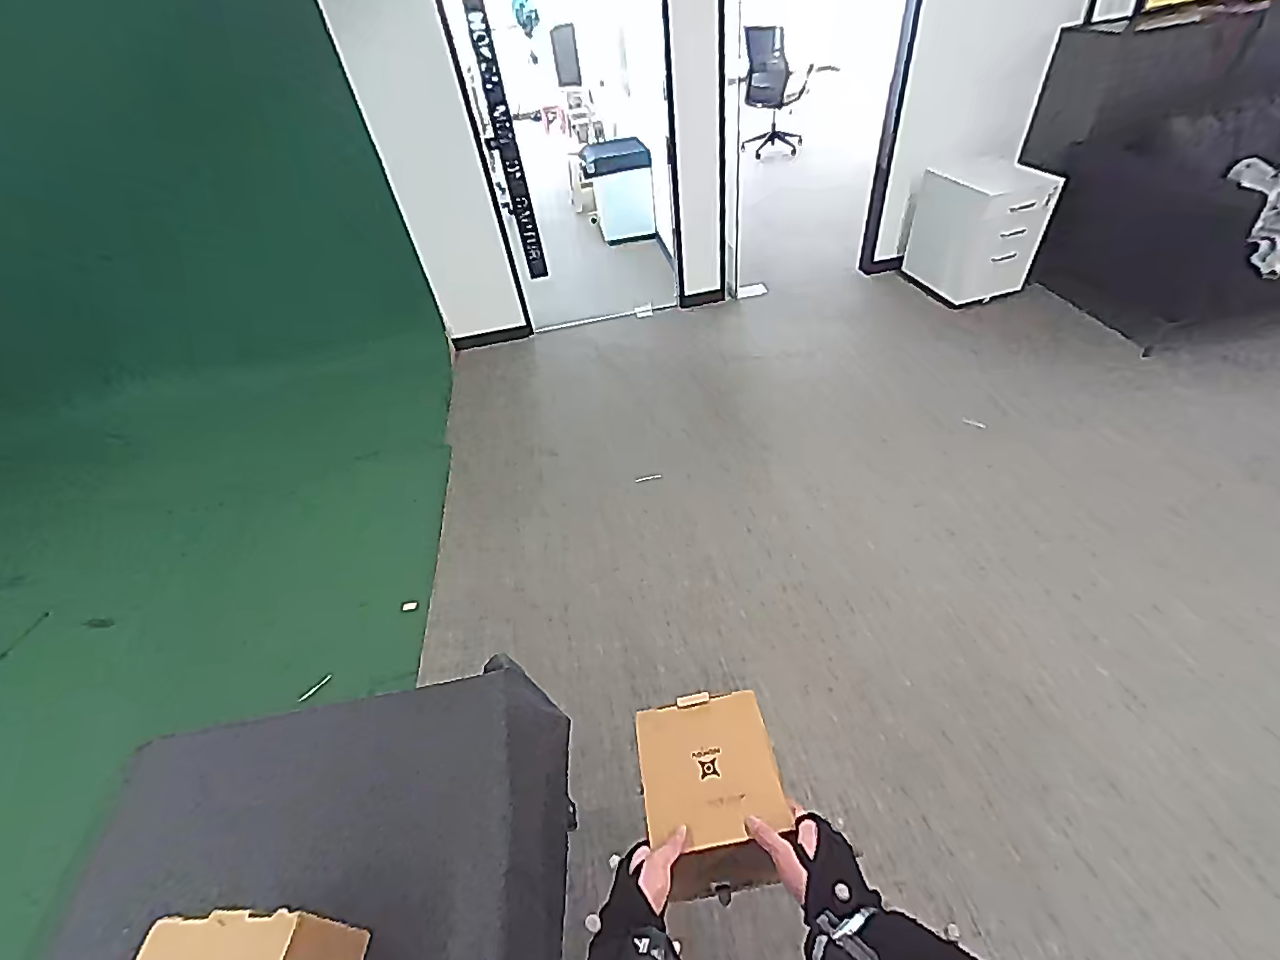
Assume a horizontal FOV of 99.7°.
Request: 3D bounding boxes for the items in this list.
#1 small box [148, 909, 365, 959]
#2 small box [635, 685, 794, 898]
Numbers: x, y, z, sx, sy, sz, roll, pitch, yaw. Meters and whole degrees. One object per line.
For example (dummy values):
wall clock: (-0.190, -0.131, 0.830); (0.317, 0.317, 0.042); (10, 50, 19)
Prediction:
small box: (-0.431, 0.592, 0.586); (0.168, 0.176, 0.179); (-5, 43, 4)
small box: (0.091, 0.399, 0.696); (0.168, 0.176, 0.179); (-11, 37, 3)
